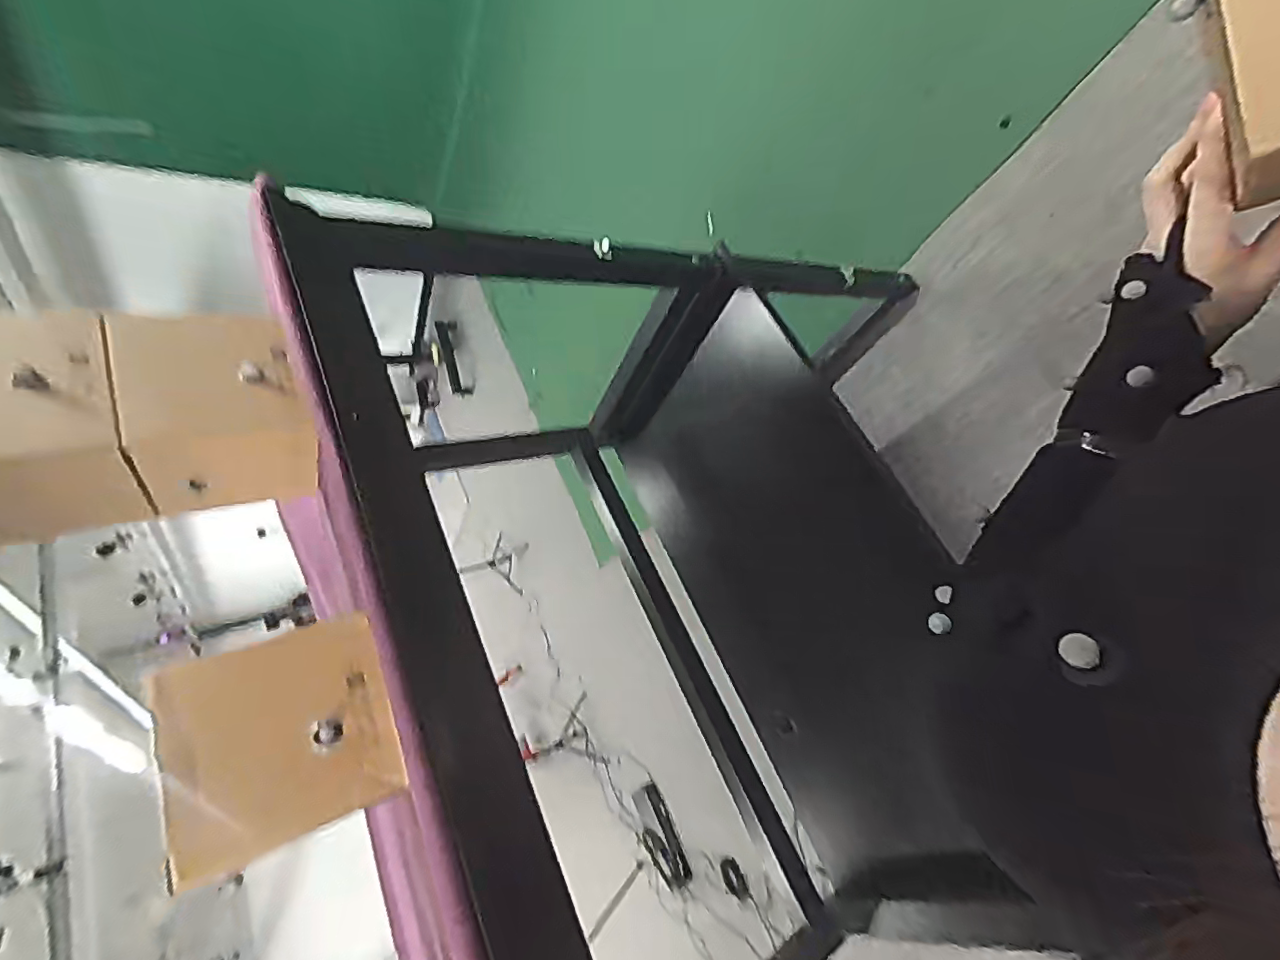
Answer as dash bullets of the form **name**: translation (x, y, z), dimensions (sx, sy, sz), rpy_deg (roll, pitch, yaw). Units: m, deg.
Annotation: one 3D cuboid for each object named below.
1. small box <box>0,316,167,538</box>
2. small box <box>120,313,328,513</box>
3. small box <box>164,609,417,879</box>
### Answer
- **small box**: translation (-0.623, -0.051, 0.565), dimensions (0.179, 0.176, 0.168), rpy_deg (-46, 64, 50)
- **small box**: translation (-0.490, -0.080, 0.658), dimensions (0.179, 0.176, 0.168), rpy_deg (-45, 64, 49)
- **small box**: translation (-0.327, 0.245, 0.527), dimensions (0.179, 0.176, 0.168), rpy_deg (-47, 61, 50)
